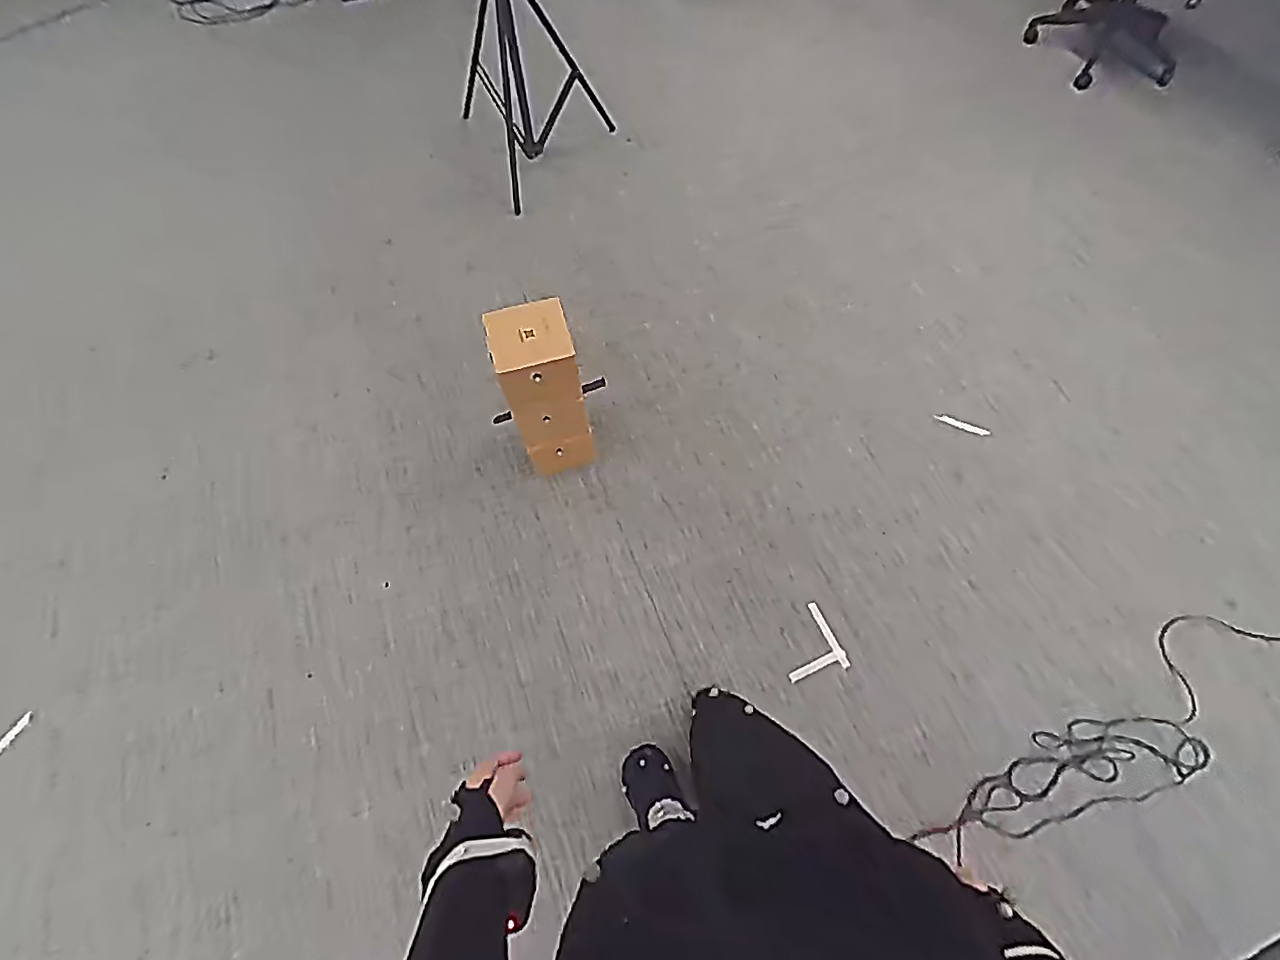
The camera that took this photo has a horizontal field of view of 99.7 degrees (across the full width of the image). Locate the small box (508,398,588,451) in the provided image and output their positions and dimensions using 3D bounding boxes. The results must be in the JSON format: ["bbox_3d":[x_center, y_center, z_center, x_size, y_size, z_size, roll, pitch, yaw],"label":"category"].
[{"bbox_3d":[-0.240,-0.192,1.383,0.179,0.176,0.168,-13,67,-6],"label":"small box"}]

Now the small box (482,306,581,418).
[{"bbox_3d":[-0.243,-0.264,1.238,0.179,0.176,0.168,-15,68,-7],"label":"small box"}]

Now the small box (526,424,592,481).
[{"bbox_3d":[-0.236,-0.118,1.531,0.179,0.176,0.168,-16,67,-7],"label":"small box"}]
